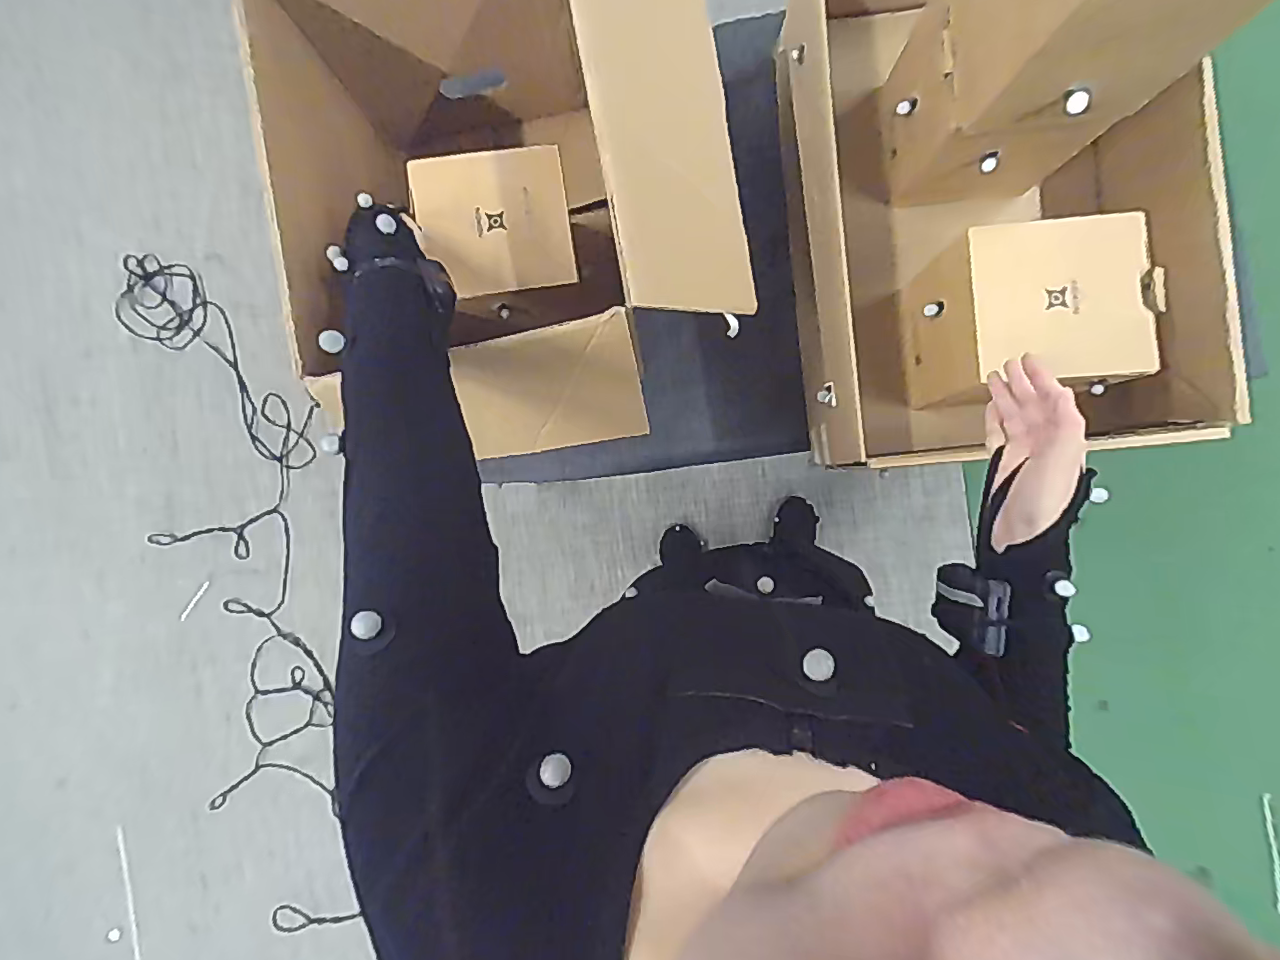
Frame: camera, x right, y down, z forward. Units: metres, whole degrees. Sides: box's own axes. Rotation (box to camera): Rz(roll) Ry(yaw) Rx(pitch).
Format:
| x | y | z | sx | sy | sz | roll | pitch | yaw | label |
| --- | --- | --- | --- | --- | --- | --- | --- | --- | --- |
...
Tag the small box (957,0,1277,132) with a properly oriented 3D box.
| x | y | z | sx | sy | sz | roll | pitch | yaw | label |
| --- | --- | --- | --- | --- | --- | --- | --- | --- | --- |
| 0.400 | -0.444 | 0.466 | 0.168 | 0.176 | 0.179 | -5 | 91 | 4 | small box |
